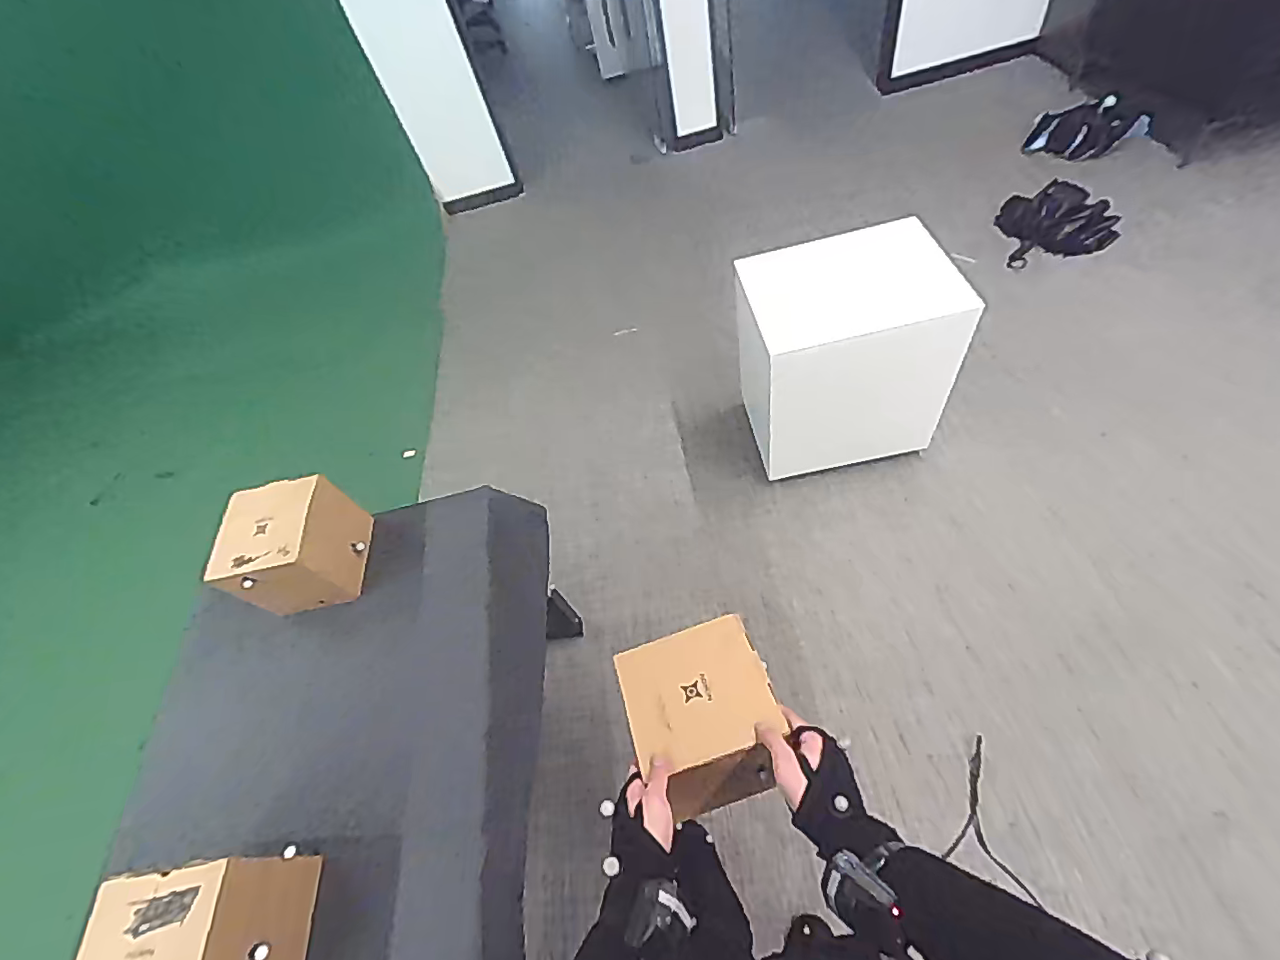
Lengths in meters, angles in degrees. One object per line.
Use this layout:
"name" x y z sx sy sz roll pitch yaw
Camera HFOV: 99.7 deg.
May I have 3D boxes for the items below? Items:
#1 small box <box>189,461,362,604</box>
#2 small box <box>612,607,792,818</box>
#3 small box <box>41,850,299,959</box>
"small box" -0.618 0.095 0.949 0.168 0.176 0.179 -11 54 4
"small box" 0.080 0.298 0.694 0.179 0.176 0.168 -19 42 -2
"small box" -0.536 0.543 0.624 0.168 0.176 0.179 -11 55 4
